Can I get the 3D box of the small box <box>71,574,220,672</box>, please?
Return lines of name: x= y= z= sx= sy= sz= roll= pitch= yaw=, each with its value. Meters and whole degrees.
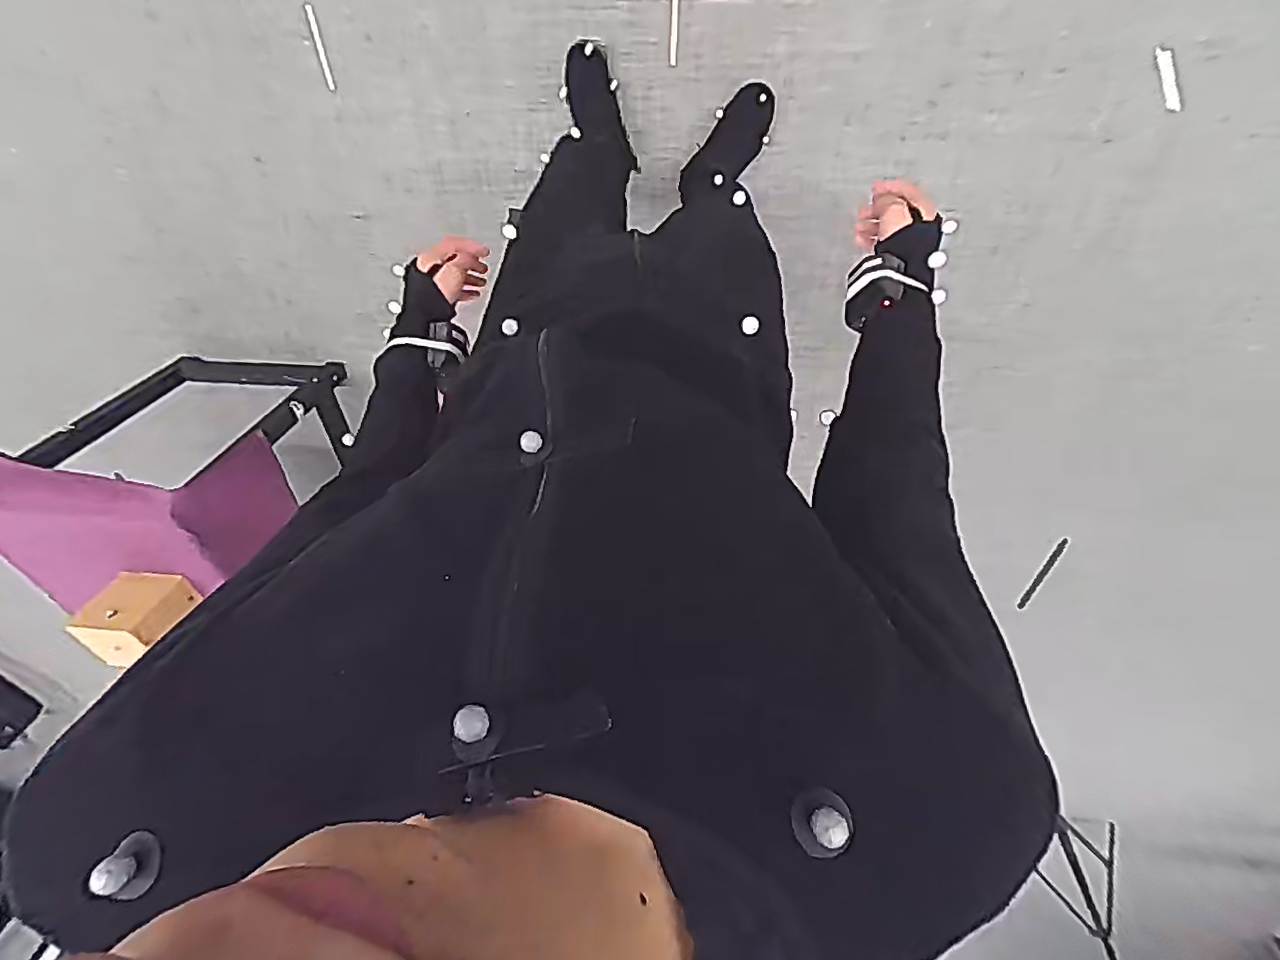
small box: x=-1.212 y=0.352 z=1.343 sx=0.179 sy=0.176 sz=0.168 roll=2 pitch=130 yaw=7
